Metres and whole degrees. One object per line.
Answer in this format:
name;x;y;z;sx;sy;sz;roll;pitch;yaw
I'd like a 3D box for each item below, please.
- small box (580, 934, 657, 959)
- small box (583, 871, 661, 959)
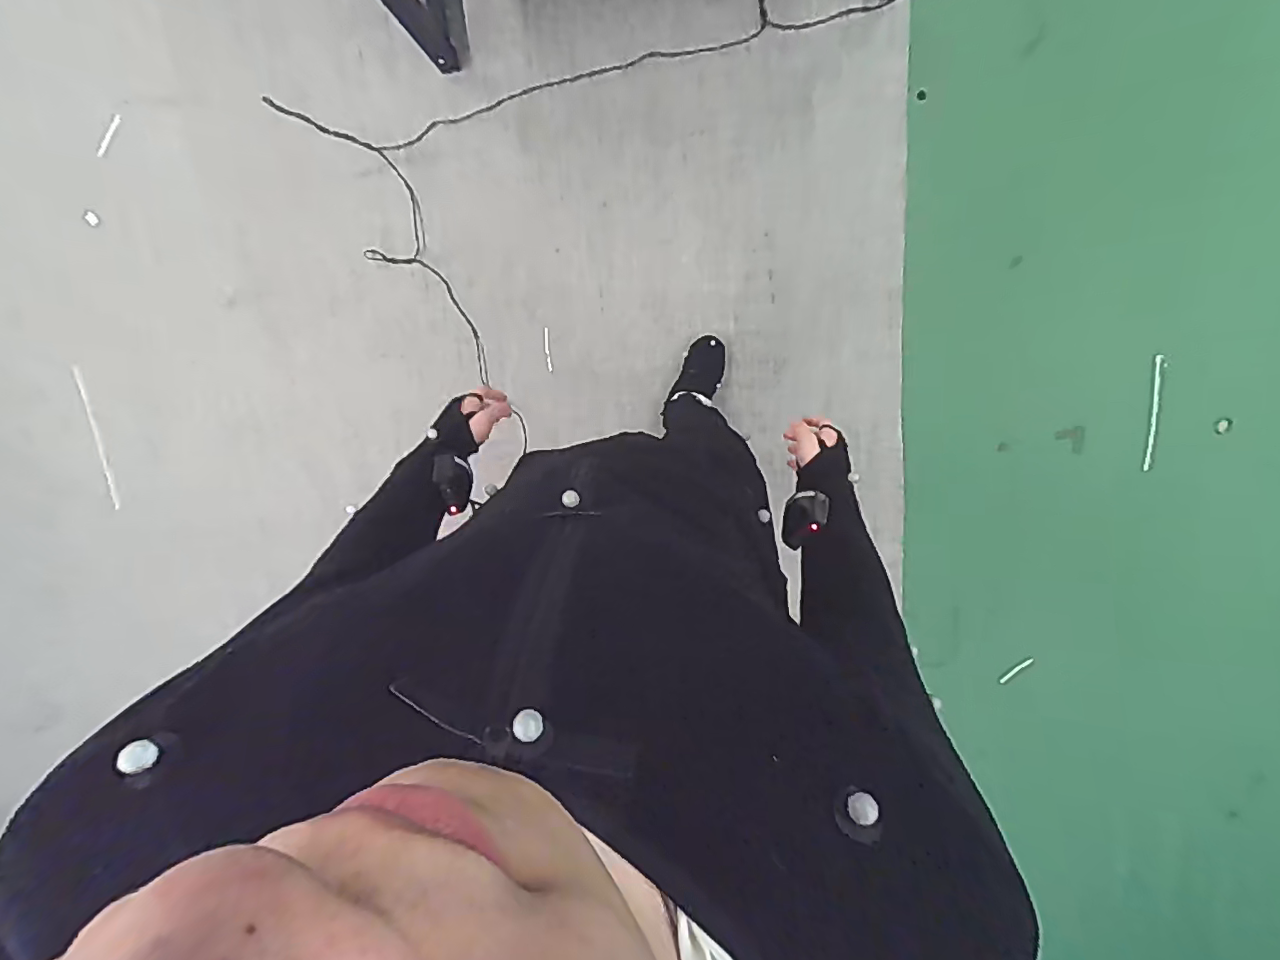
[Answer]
small box;-0.052;1.169;1.215;0.179;0.176;0.168;-3;102;4
small box;-0.040;1.137;1.376;0.179;0.176;0.168;-1;102;5
